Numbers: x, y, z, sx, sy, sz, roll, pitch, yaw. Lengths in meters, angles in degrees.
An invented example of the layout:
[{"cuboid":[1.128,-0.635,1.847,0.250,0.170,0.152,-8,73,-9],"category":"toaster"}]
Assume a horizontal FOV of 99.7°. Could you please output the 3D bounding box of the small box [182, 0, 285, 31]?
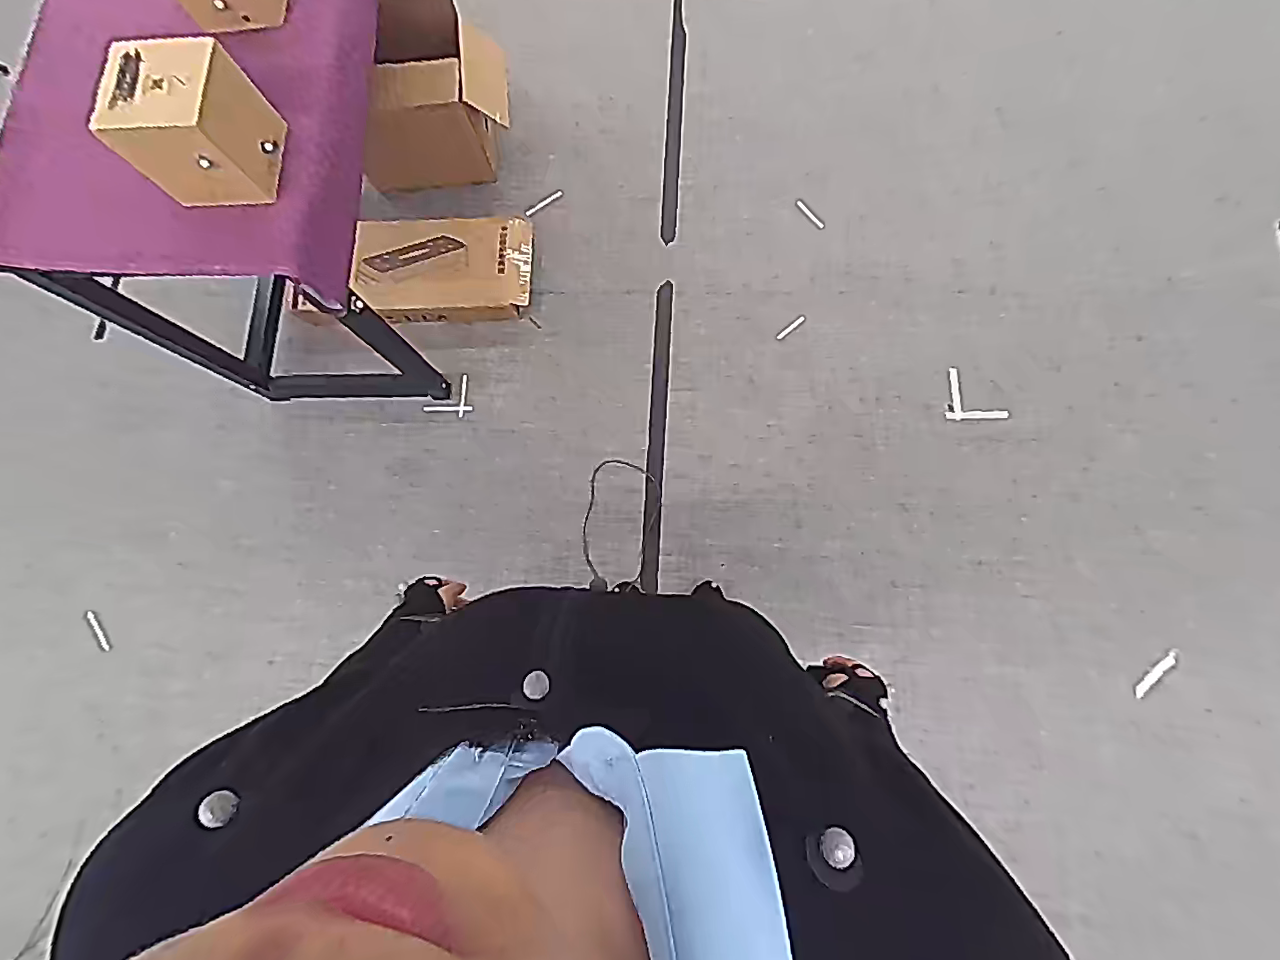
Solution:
[{"cuboid":[-0.775,-0.972,0.984,0.168,0.176,0.179,-1,78,6],"category":"small box"}]
